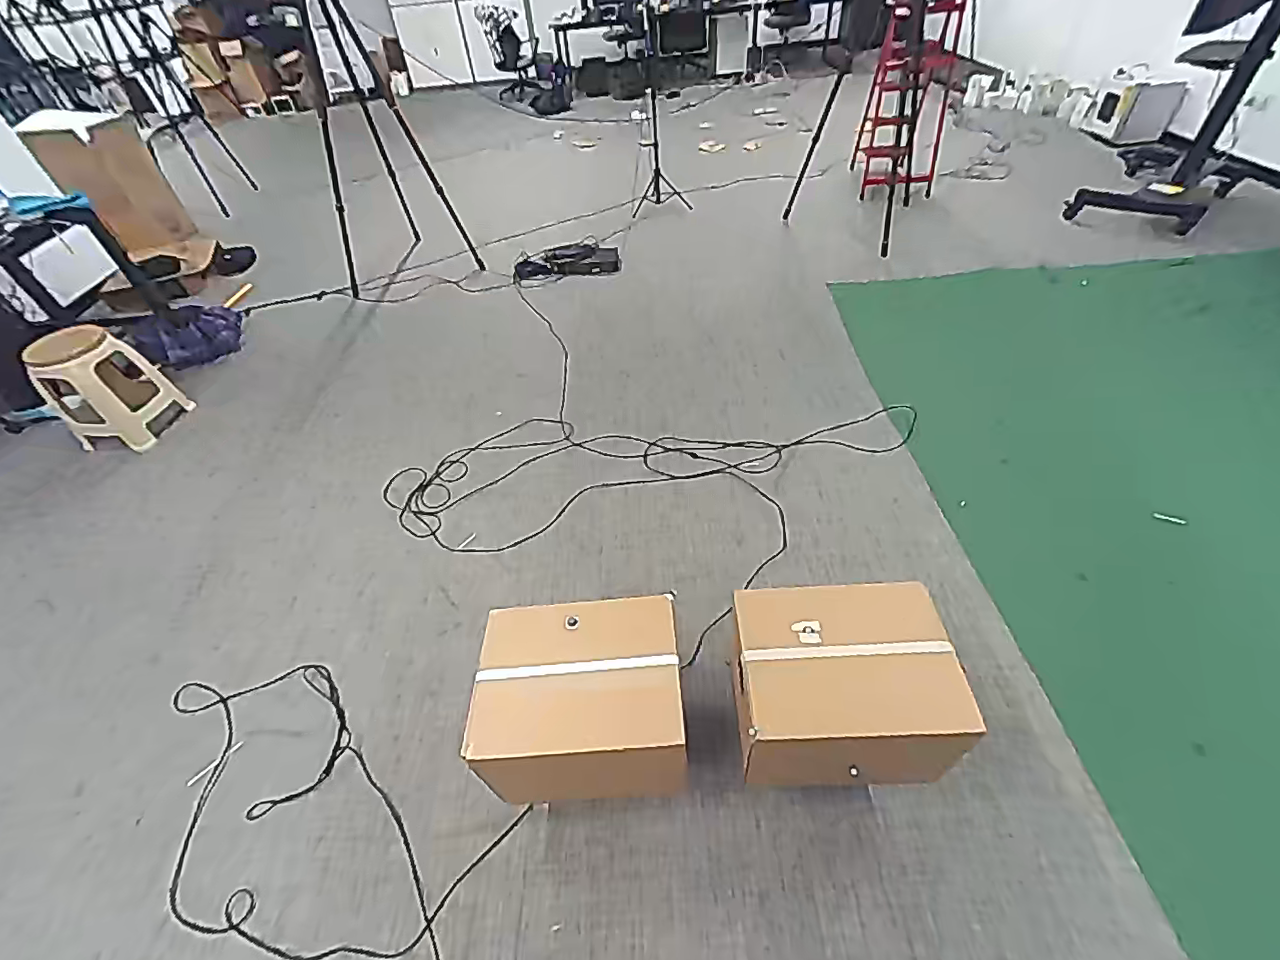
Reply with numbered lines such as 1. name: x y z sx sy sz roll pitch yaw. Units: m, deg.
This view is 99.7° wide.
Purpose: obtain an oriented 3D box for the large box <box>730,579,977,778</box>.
1. large box: 0.419 0.441 1.183 0.408 0.320 0.320 -4 46 4
